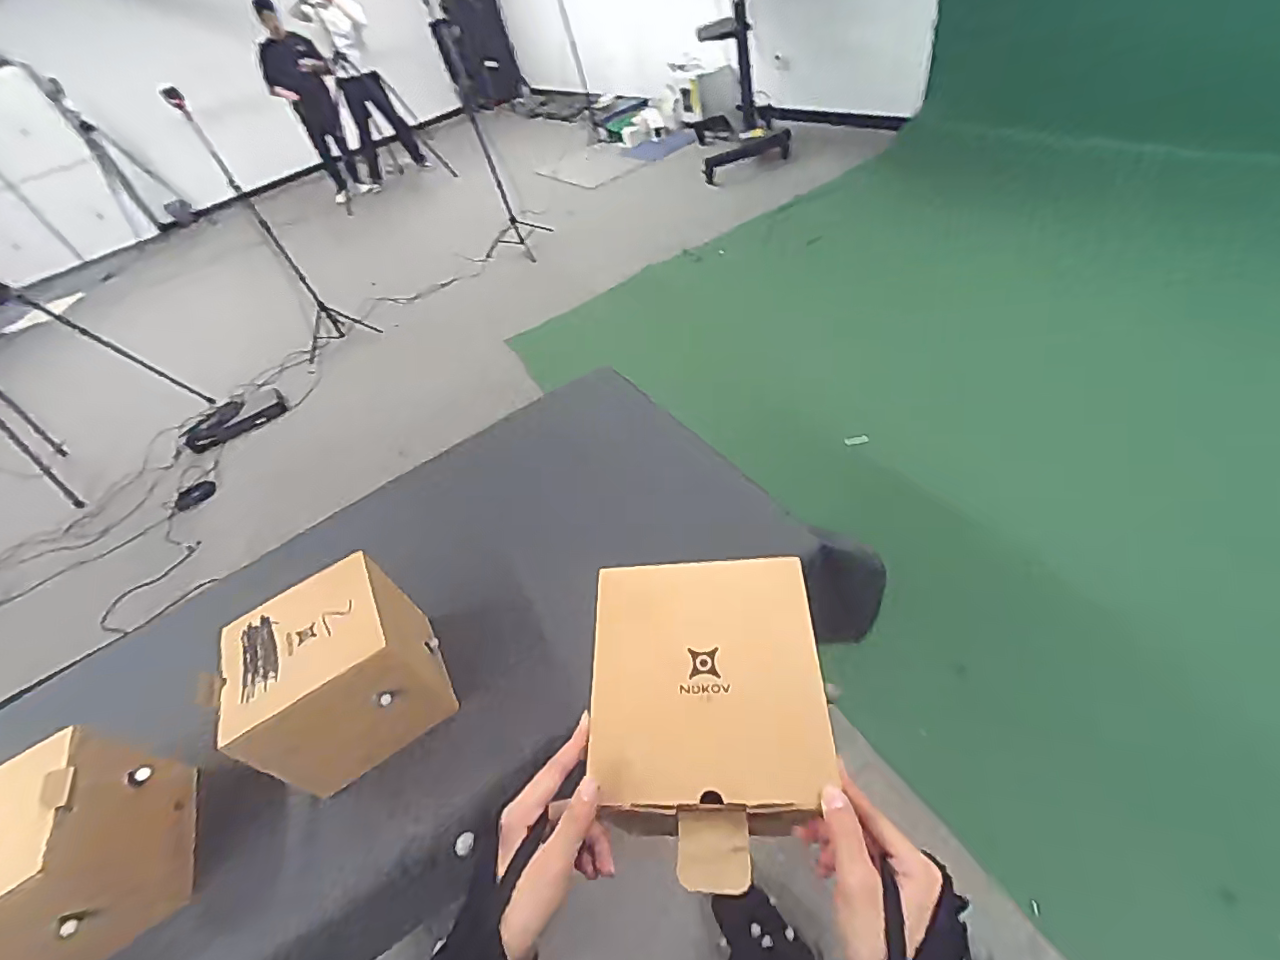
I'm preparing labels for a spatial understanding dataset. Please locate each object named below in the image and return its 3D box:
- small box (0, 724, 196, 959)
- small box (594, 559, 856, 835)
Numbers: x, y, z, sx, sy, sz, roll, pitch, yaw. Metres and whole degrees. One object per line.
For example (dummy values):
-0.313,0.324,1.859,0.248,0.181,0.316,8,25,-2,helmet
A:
-0.611,0.400,0.563,0.179,0.176,0.168,-34,45,-14,small box
0.062,0.184,0.449,0.168,0.176,0.179,-4,53,7,small box
